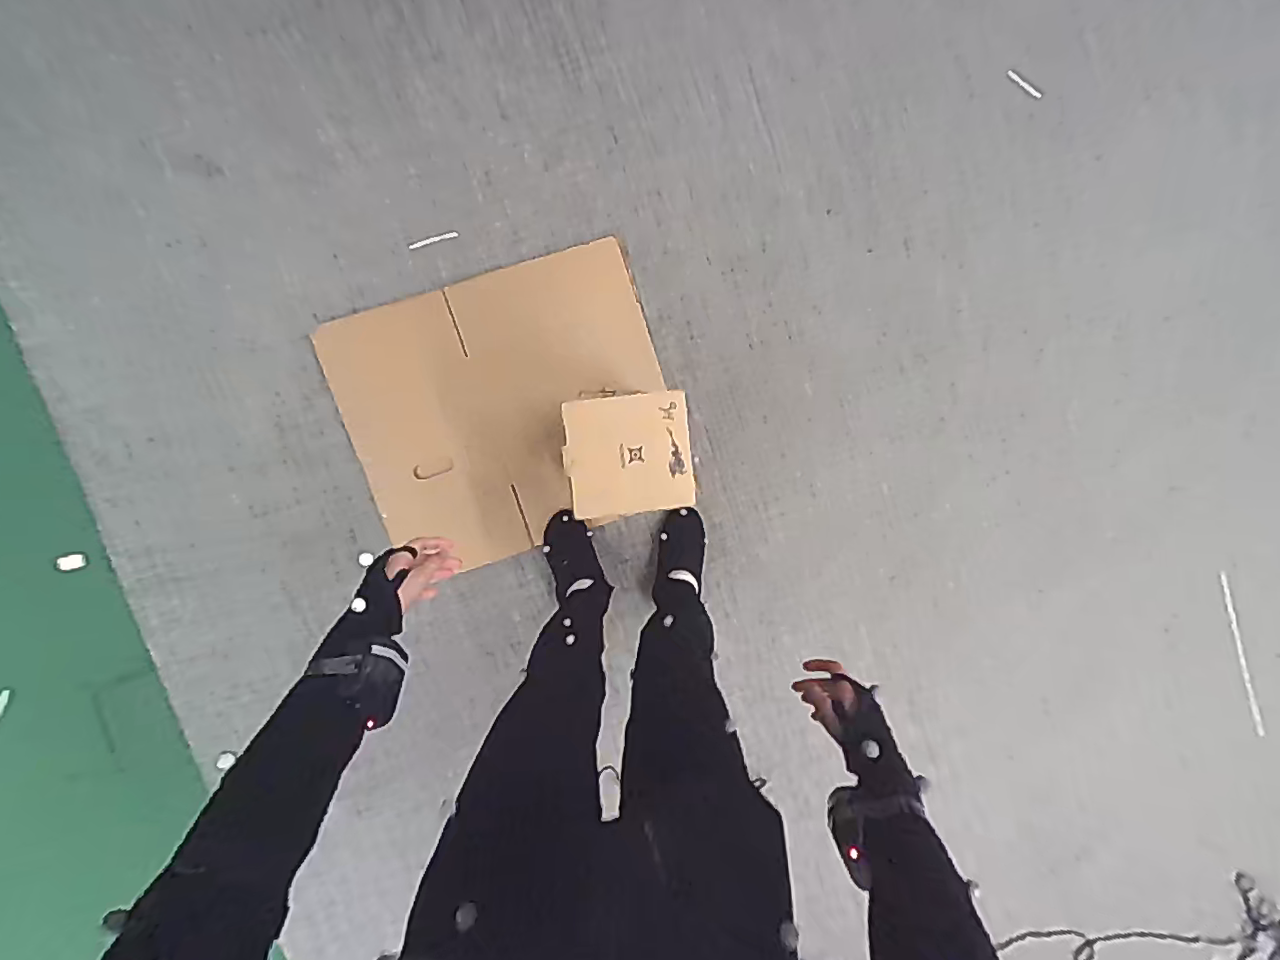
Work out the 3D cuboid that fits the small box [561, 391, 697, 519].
[{"bbox_3d":[-0.019,-0.038,0.822,0.179,0.176,0.168,-6,95,-4],"label":"small box"}]
